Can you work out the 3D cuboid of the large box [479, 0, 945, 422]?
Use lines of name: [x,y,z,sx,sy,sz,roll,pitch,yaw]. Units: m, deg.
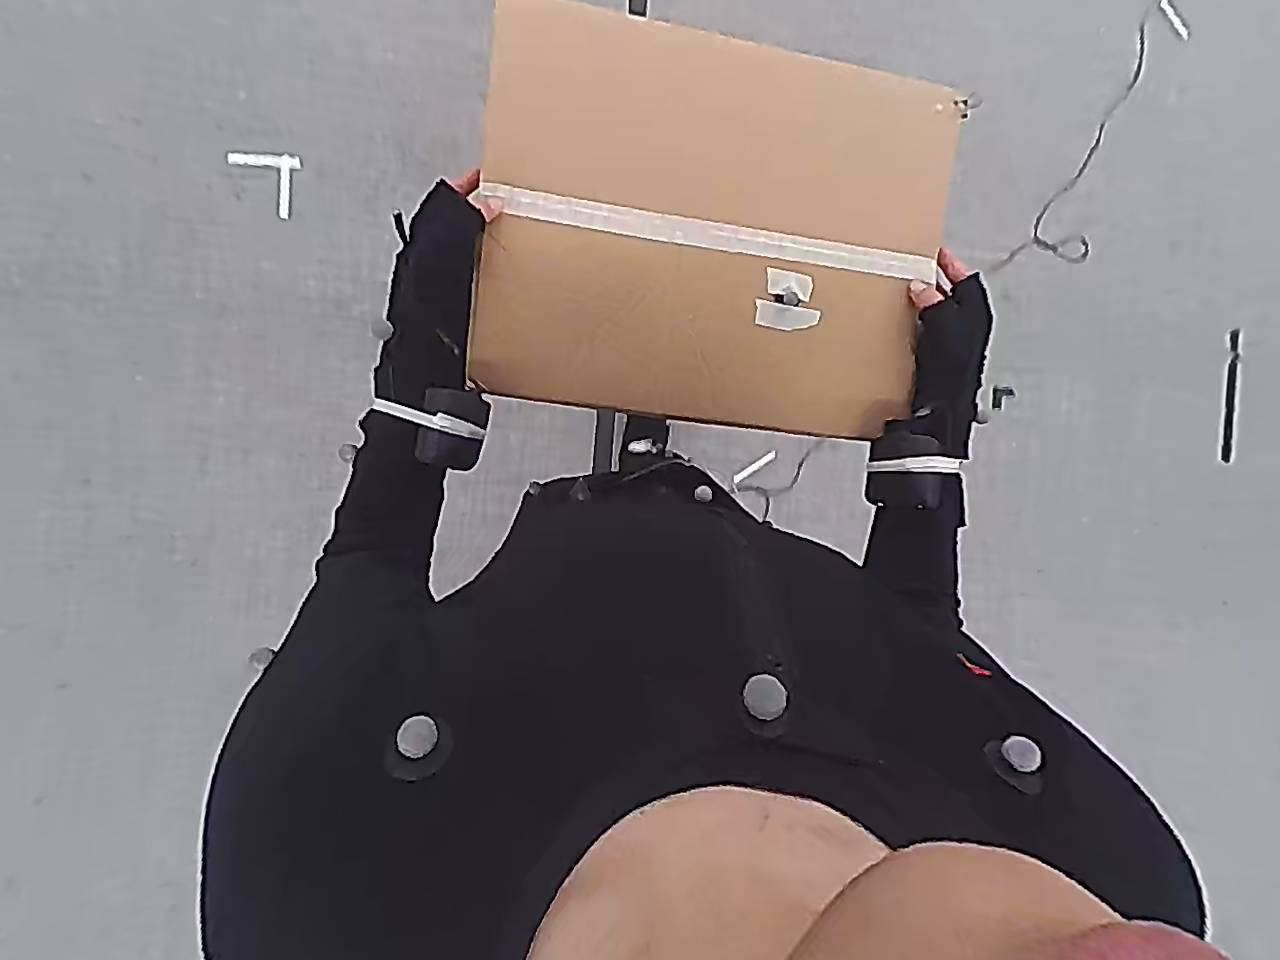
large box: [0.047,-0.243,0.626,0.408,0.320,0.320,5,98,-9]
